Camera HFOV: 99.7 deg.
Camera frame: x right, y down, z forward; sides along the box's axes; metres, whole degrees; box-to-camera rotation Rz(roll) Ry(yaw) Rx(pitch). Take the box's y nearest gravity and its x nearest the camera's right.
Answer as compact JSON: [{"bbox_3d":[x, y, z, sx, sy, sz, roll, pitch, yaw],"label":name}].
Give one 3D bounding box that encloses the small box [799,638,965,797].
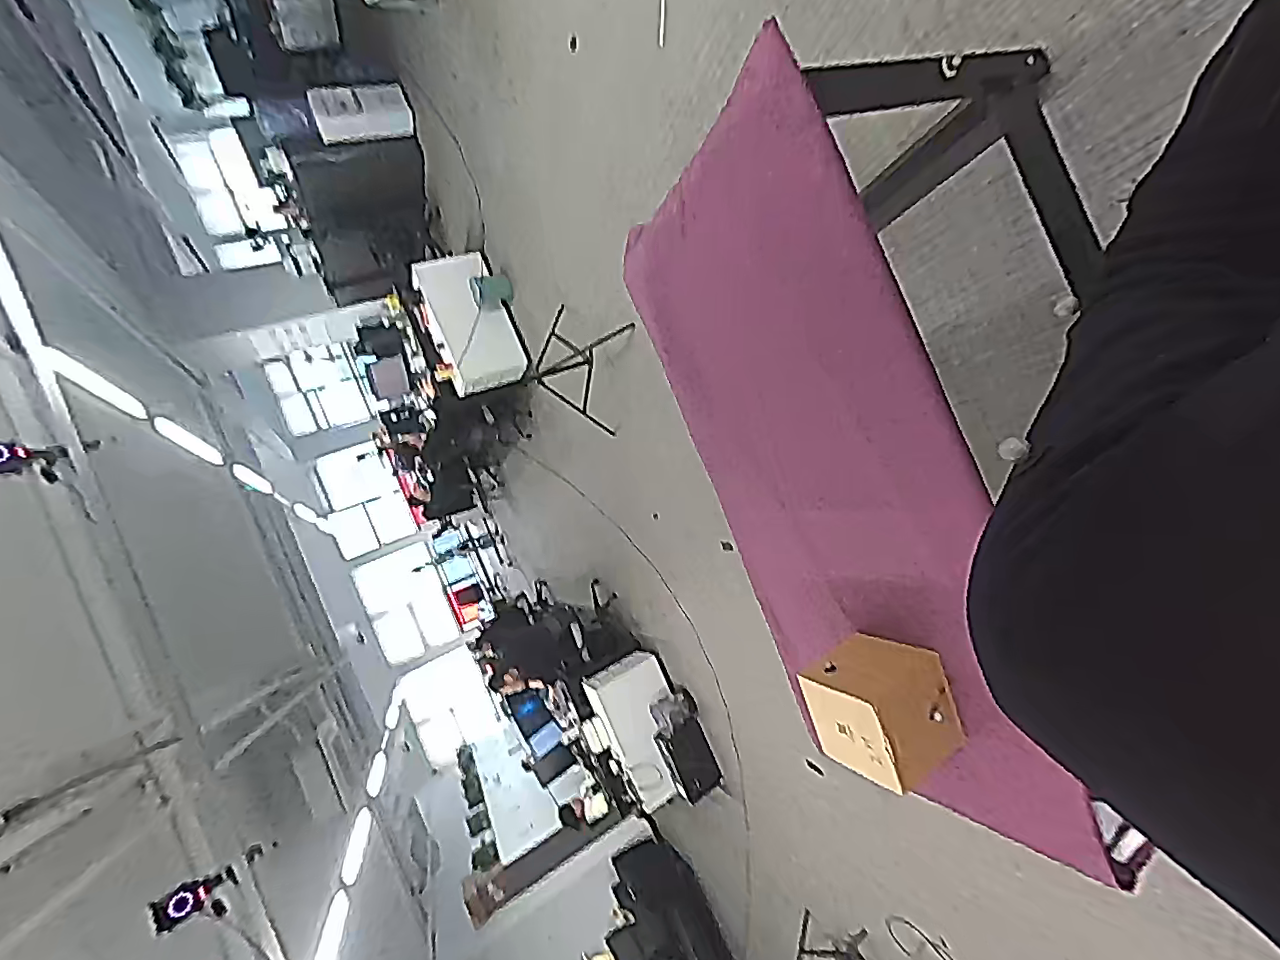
[{"bbox_3d":[0.418,0.395,0.940,0.179,0.176,0.168,-9,103,65],"label":"small box"}]
